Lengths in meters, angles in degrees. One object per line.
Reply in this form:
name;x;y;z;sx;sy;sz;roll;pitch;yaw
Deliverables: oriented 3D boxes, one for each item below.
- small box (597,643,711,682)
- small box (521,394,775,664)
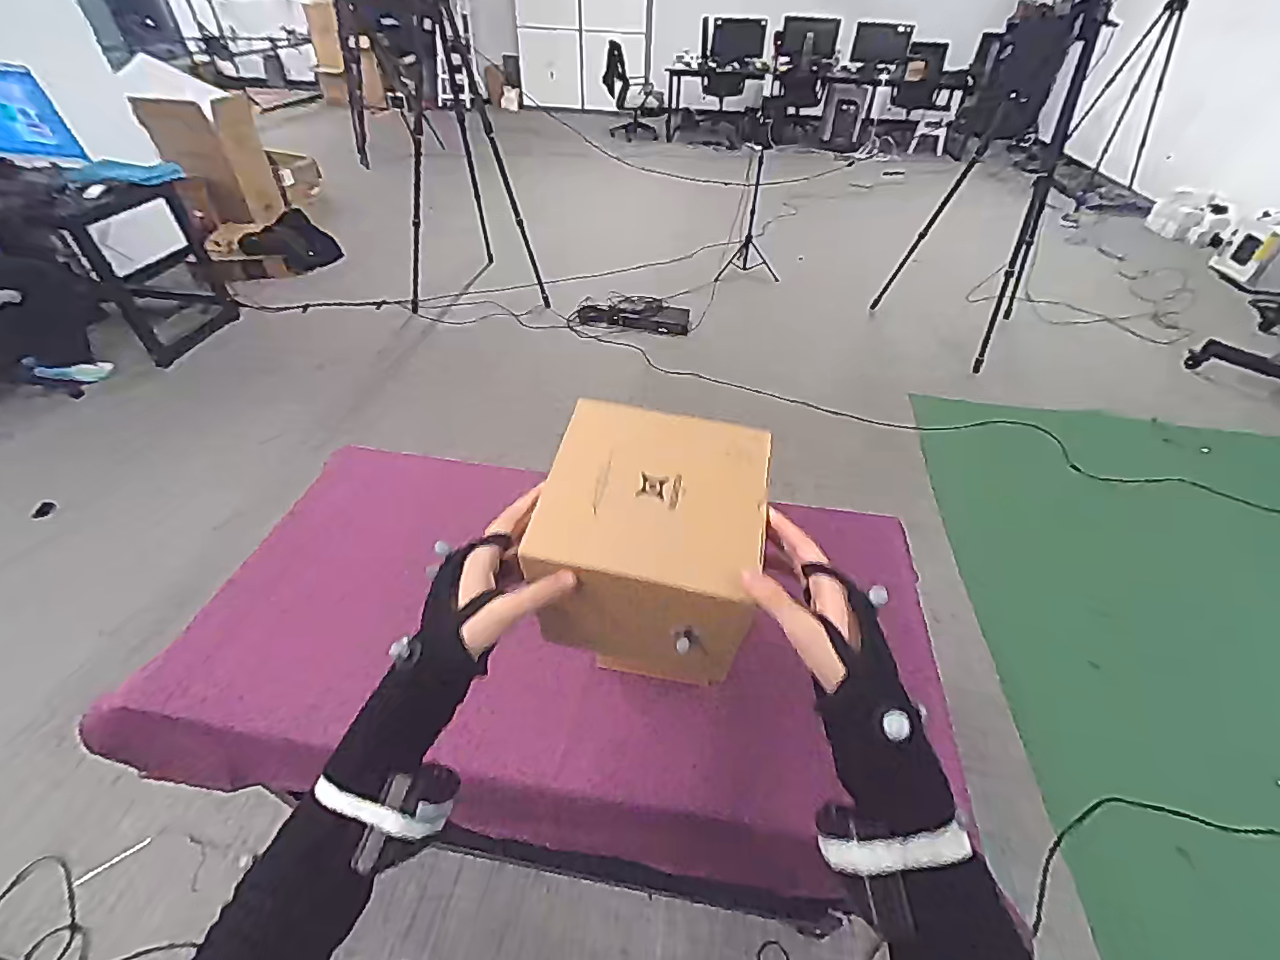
small box;0.036;0.193;0.844;0.179;0.176;0.168;8;43;7
small box;0.012;0.050;0.491;0.179;0.176;0.168;11;52;7
